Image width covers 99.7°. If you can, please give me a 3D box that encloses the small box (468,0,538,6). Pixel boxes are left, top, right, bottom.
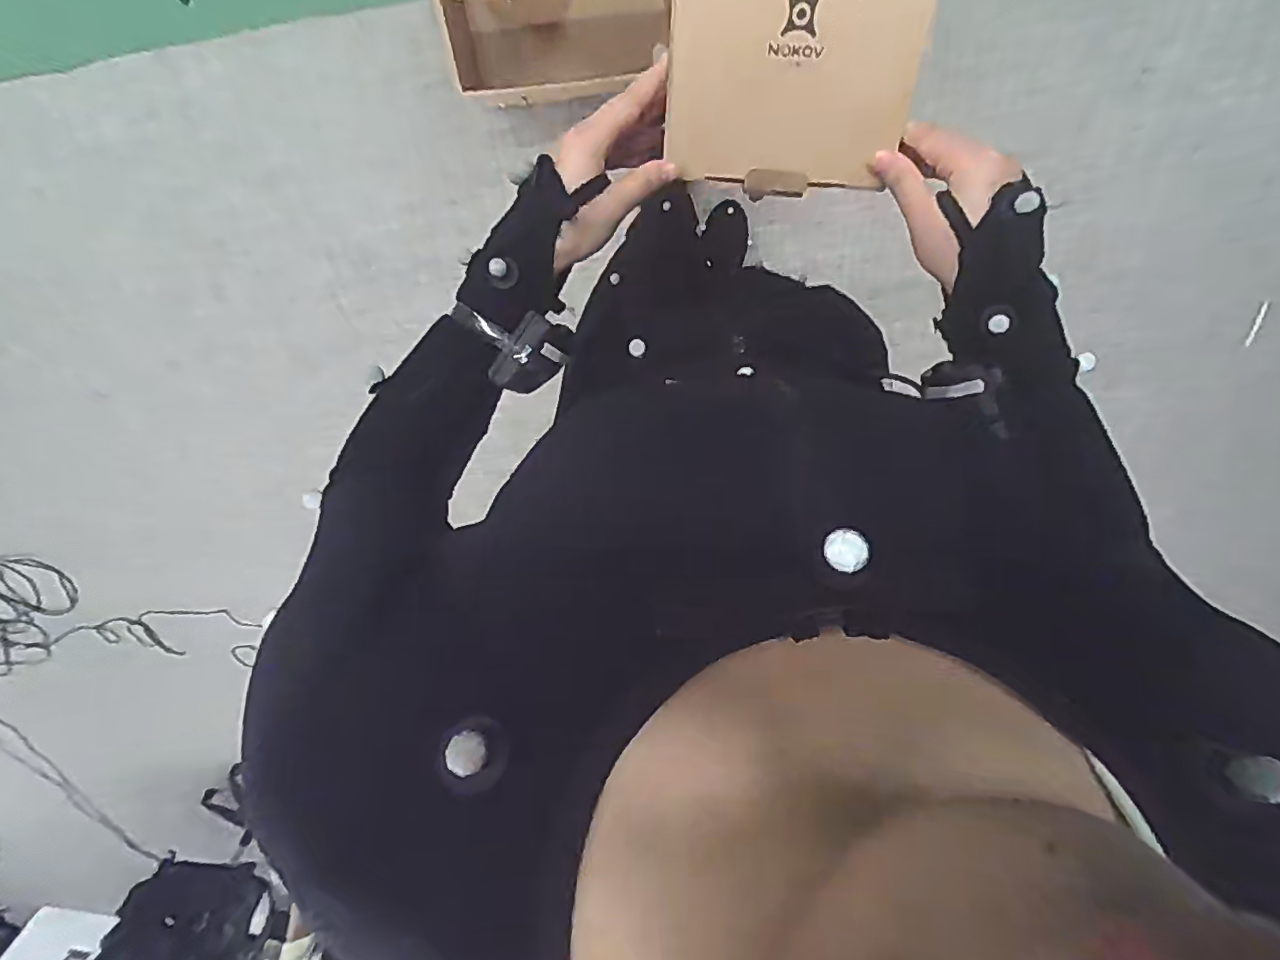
[{"bbox_3d":[-0.217,-0.913,0.895,0.168,0.176,0.179,-5,125,5],"label":"small box"}]

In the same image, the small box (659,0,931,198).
[{"bbox_3d":[0.106,-0.330,0.419,0.168,0.176,0.179,4,123,2],"label":"small box"}]
